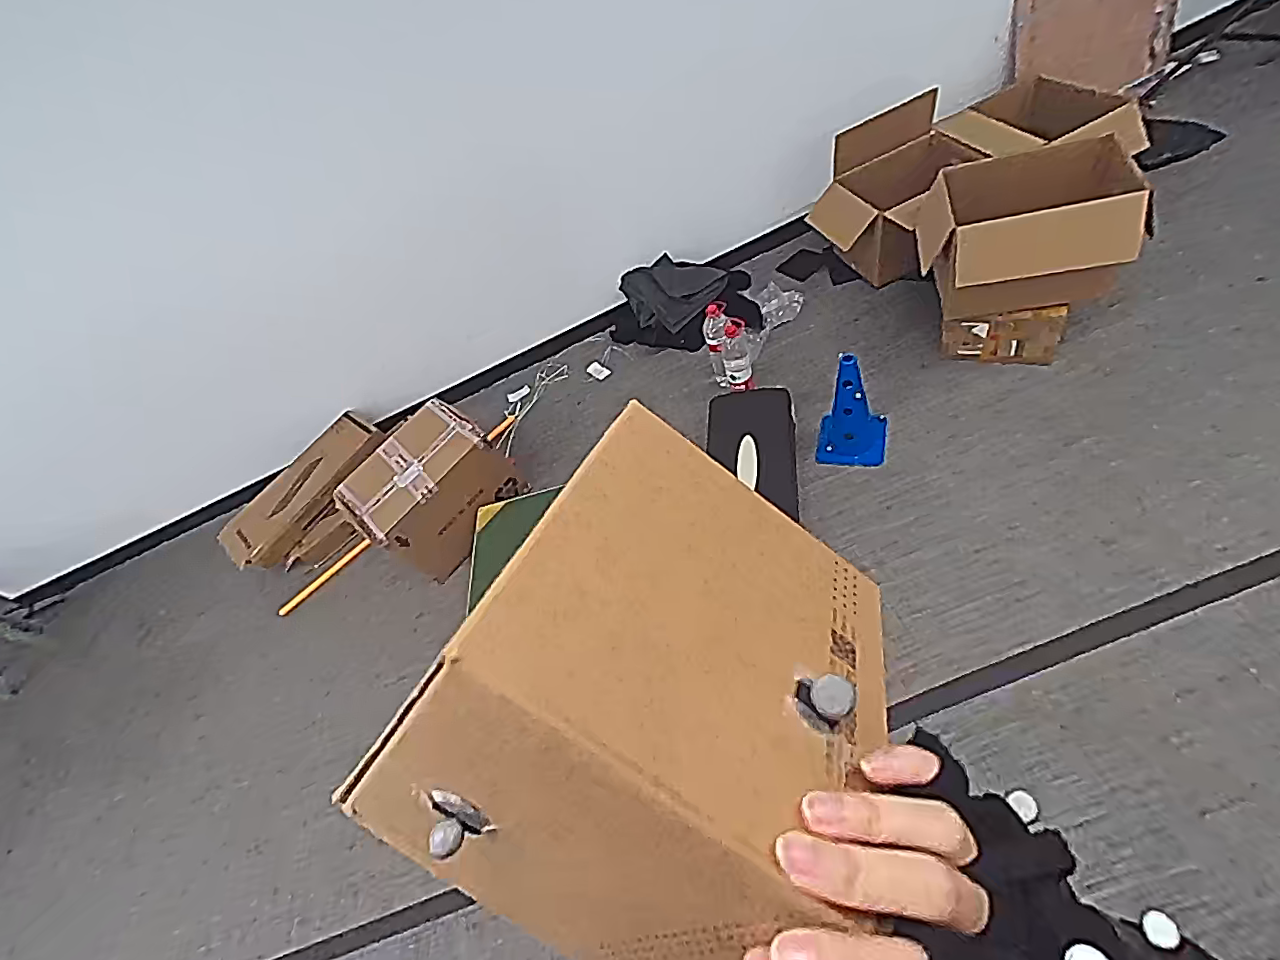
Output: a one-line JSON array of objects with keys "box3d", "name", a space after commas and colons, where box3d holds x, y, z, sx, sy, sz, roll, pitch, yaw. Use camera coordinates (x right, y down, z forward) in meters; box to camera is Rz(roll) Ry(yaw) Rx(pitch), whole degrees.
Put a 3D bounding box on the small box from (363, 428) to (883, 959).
[{"box3d": [-0.003, 0.113, 0.286, 0.179, 0.176, 0.168, -49, 8, 37], "name": "small box"}]
